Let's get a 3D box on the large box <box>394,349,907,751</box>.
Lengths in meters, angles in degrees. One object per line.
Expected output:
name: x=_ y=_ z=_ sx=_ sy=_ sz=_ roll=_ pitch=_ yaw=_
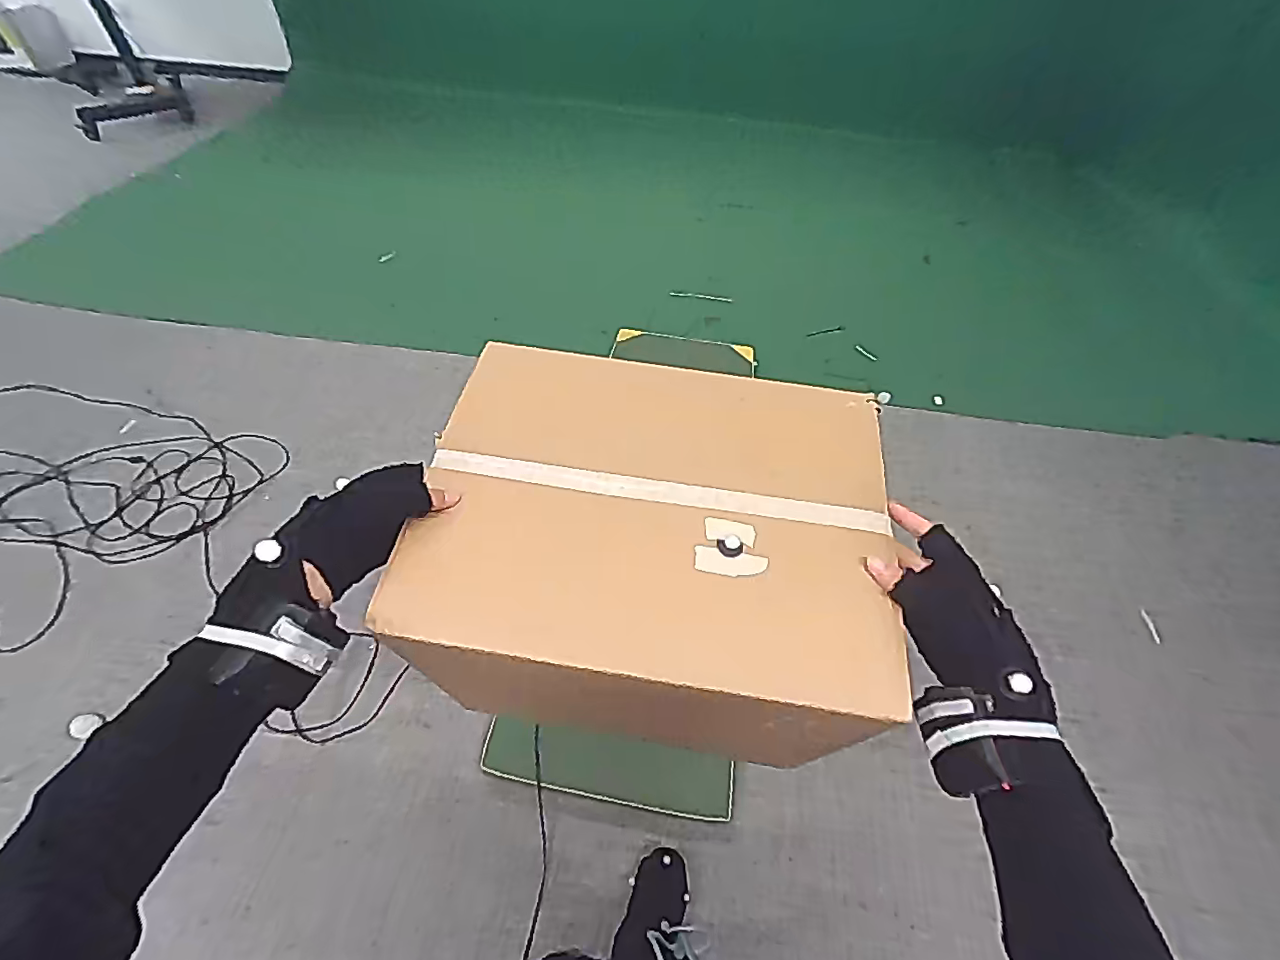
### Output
large box: x=0.016 y=0.092 z=0.614 sx=0.408 sy=0.320 sz=0.320 roll=9 pitch=57 yaw=2
